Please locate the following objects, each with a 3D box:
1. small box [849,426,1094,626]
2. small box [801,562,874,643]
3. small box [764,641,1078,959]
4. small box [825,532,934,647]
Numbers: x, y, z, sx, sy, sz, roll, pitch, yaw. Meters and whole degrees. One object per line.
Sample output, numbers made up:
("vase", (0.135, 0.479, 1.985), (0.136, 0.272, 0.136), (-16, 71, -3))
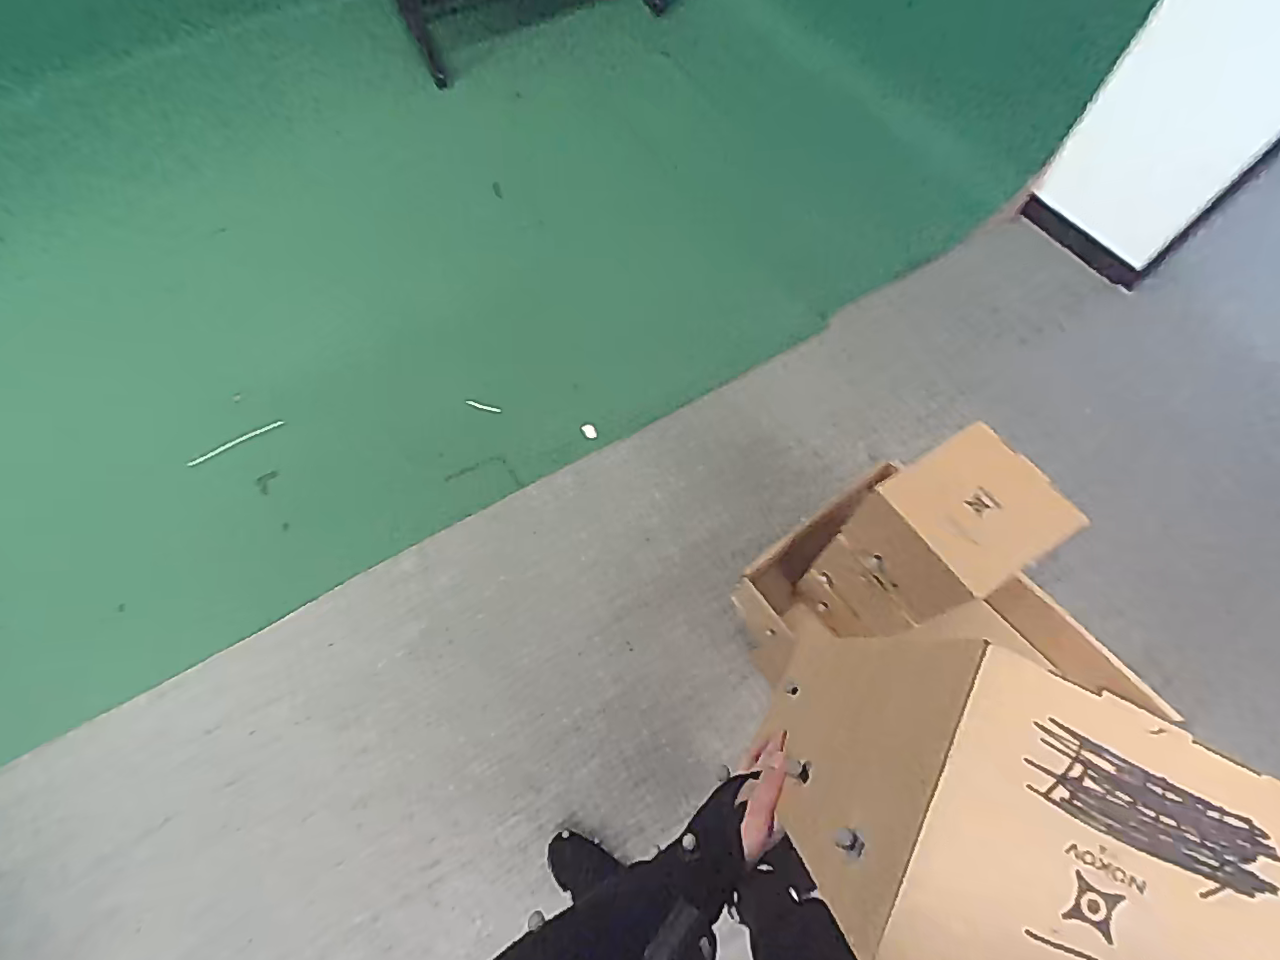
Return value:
("small box", (0.408, 0.066, 0.702), (0.179, 0.176, 0.168), (-29, 67, -10))
("small box", (0.419, 0.207, 0.998), (0.179, 0.176, 0.168), (-34, 68, -13))
("small box", (0.222, 0.261, 0.477), (0.168, 0.176, 0.179), (27, 77, 11))
("small box", (0.414, 0.140, 0.848), (0.179, 0.176, 0.168), (-30, 67, -12))
